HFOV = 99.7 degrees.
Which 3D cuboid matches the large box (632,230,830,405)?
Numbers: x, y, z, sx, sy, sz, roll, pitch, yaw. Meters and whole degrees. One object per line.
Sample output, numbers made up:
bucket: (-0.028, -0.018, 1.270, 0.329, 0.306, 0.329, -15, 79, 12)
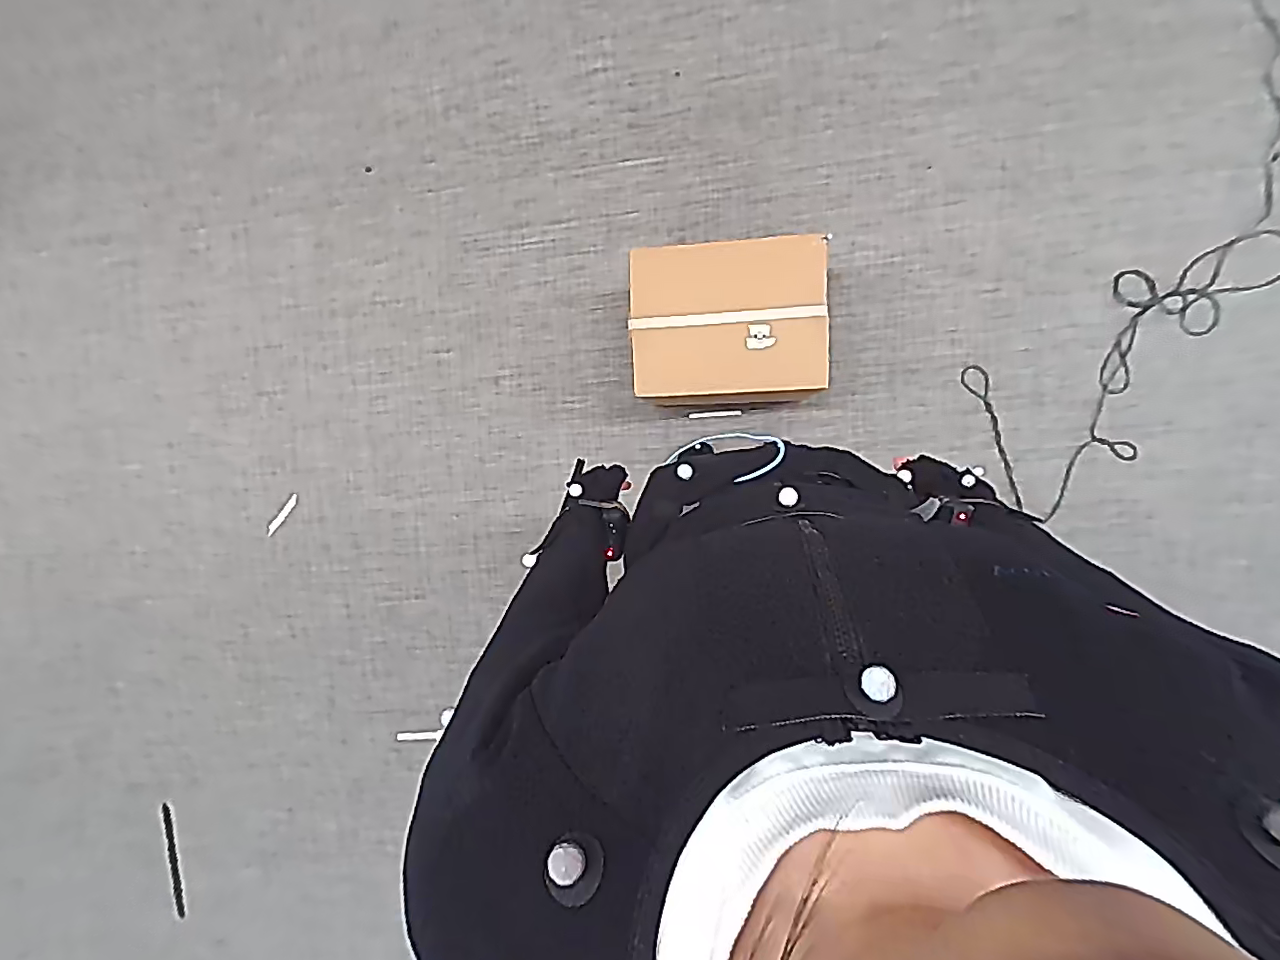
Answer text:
large box: (0.203, -0.354, 1.273, 0.408, 0.320, 0.320, -2, 94, 7)
